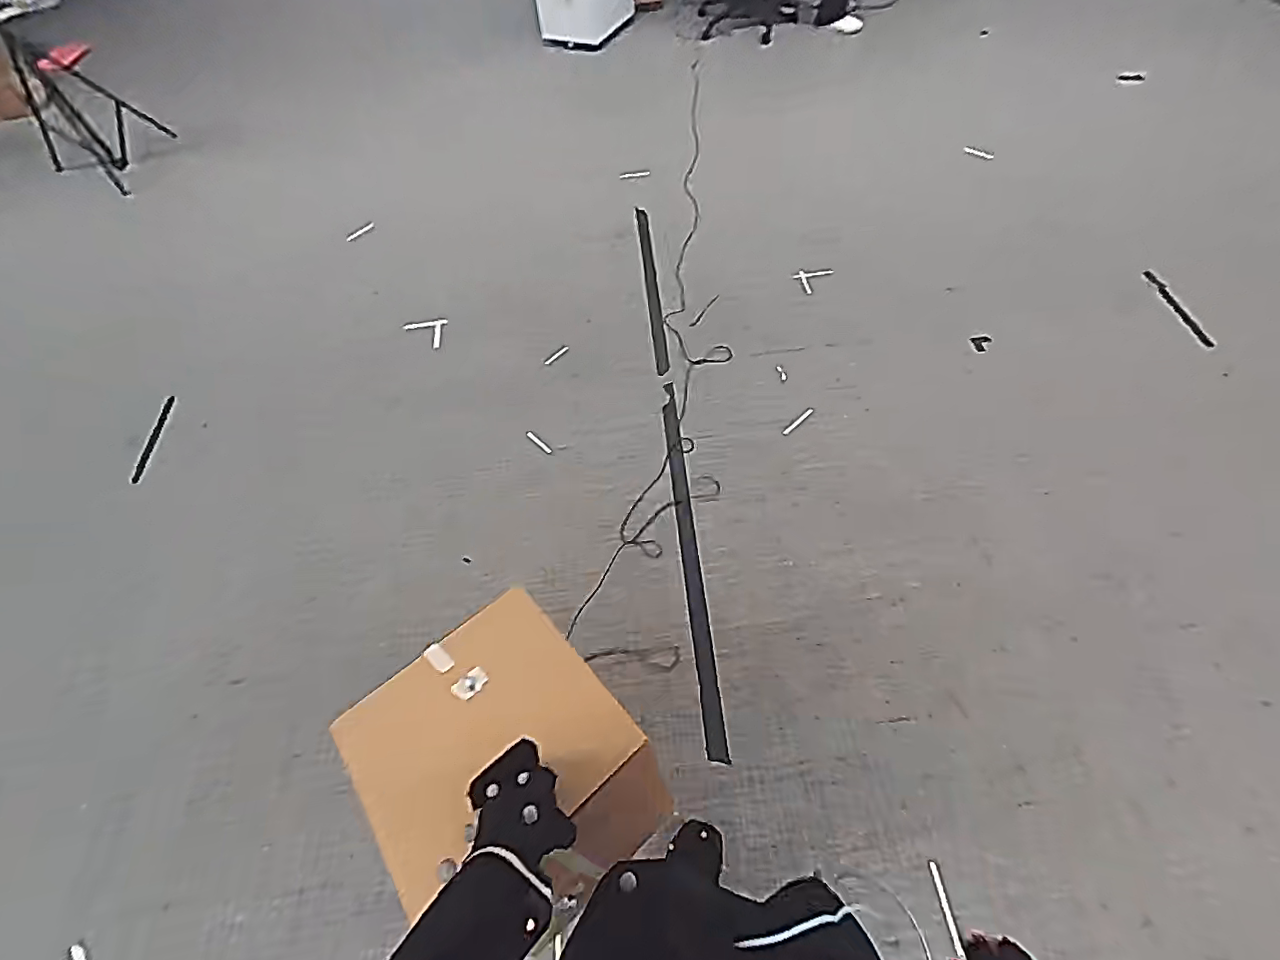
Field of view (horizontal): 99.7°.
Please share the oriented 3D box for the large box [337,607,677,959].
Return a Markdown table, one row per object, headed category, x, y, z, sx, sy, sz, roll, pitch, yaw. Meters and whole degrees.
| category | x | y | z | sx | sy | sz | roll | pitch | yaw |
| --- | --- | --- | --- | --- | --- | --- | --- | --- | --- |
| large box | -0.174 | 0.472 | 0.841 | 0.320 | 0.408 | 0.320 | -38 | 54 | -20 |
